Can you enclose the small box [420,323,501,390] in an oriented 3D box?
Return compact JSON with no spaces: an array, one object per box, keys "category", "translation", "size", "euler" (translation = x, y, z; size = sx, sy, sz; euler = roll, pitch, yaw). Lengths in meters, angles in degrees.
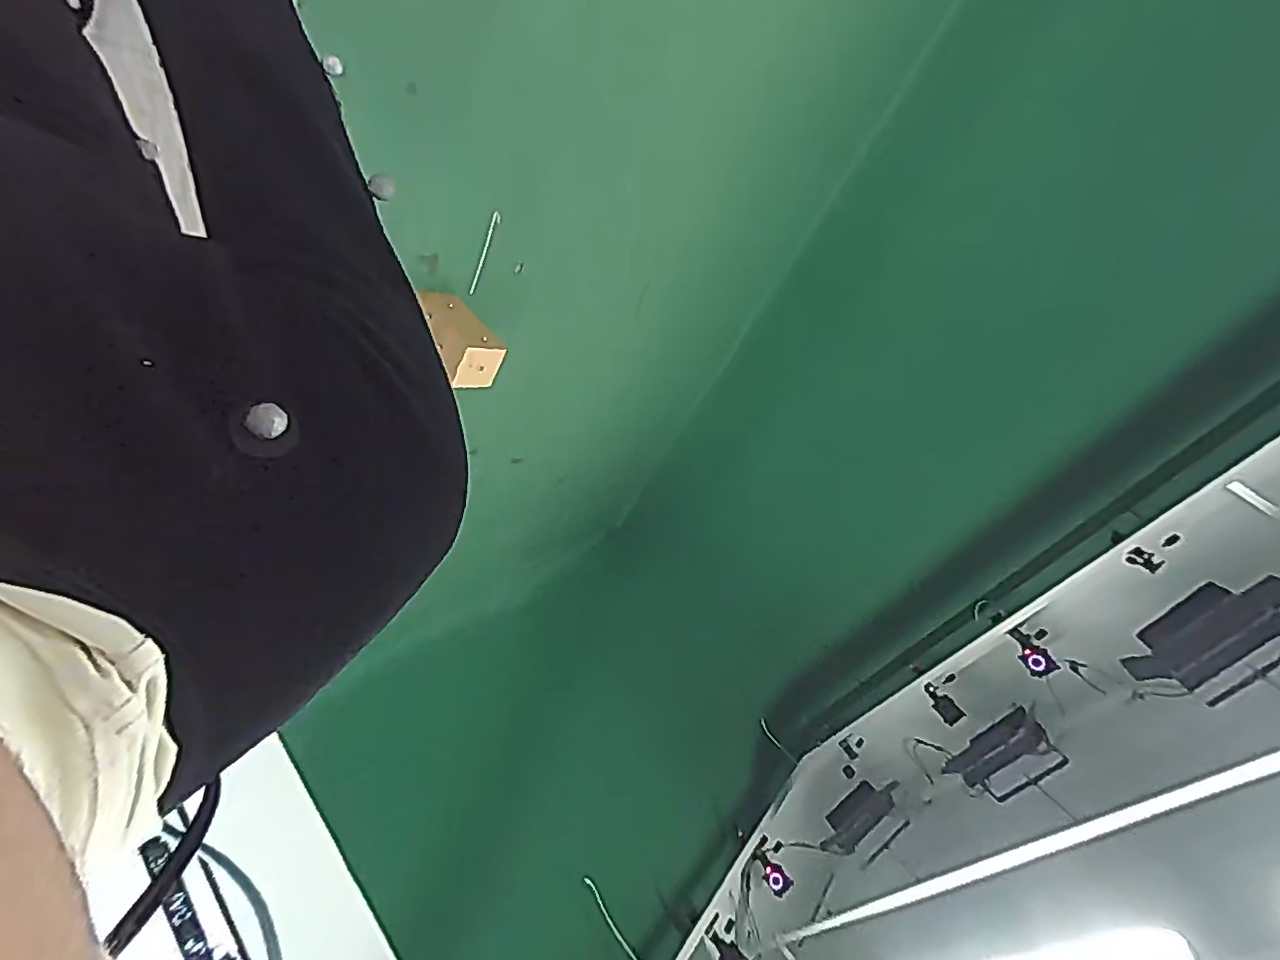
[{"category":"small box","translation":[-0.629,-0.431,1.892],"size":[0.179,0.176,0.168],"euler":[-15,145,-55]}]
